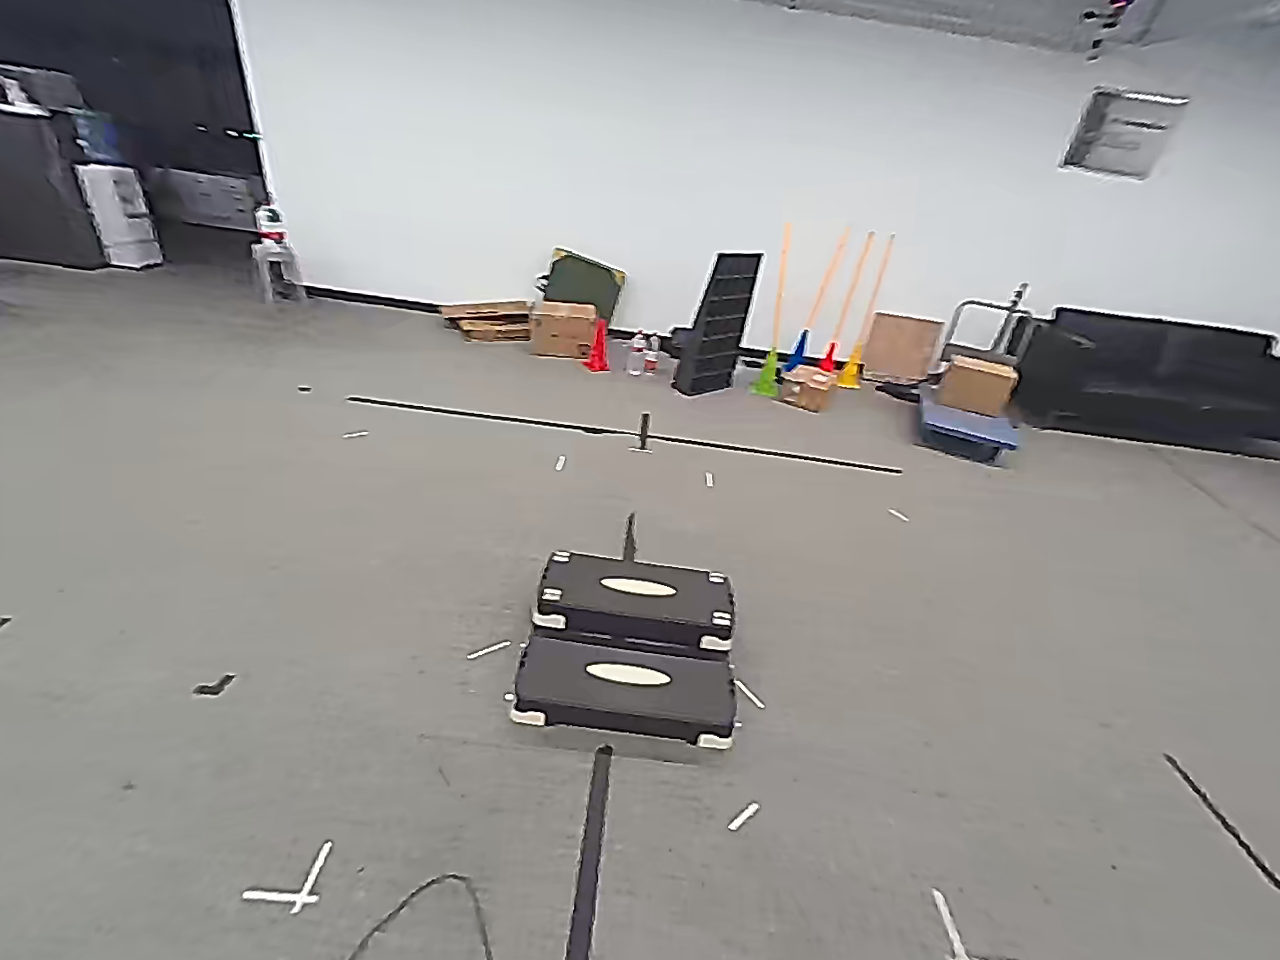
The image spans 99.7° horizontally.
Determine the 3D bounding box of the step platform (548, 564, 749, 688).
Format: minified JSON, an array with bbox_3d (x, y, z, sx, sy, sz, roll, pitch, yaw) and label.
[{"bbox_3d":[0.031,0.497,1.885,0.684,0.204,0.286,11,29,3],"label":"step platform"}]
